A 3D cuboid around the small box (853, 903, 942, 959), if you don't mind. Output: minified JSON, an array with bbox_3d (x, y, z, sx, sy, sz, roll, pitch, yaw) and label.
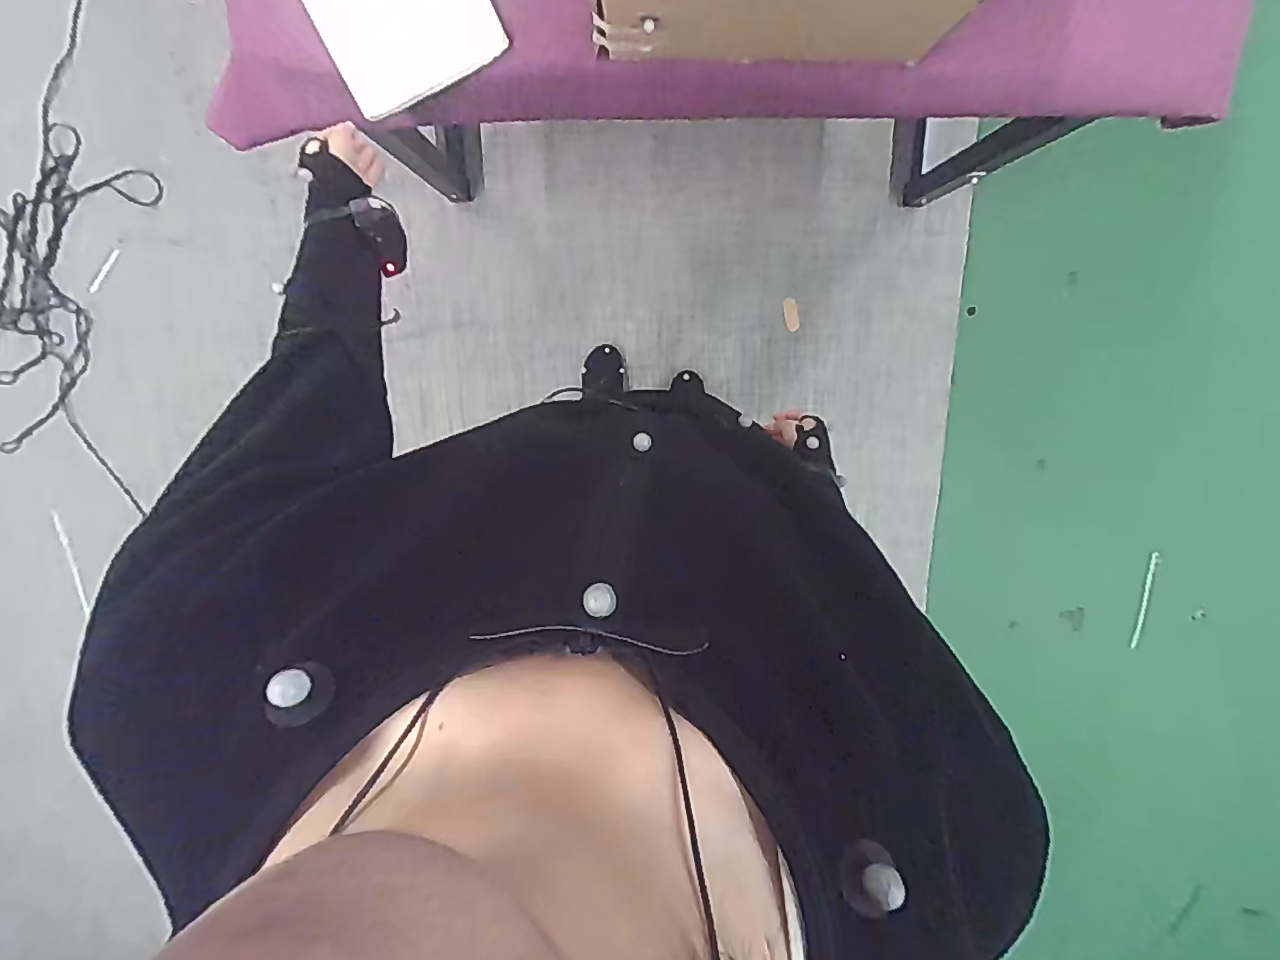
[{"bbox_3d":[0.674,1.247,1.406,0.168,0.176,0.179,-14,103,3],"label":"small box"}]
